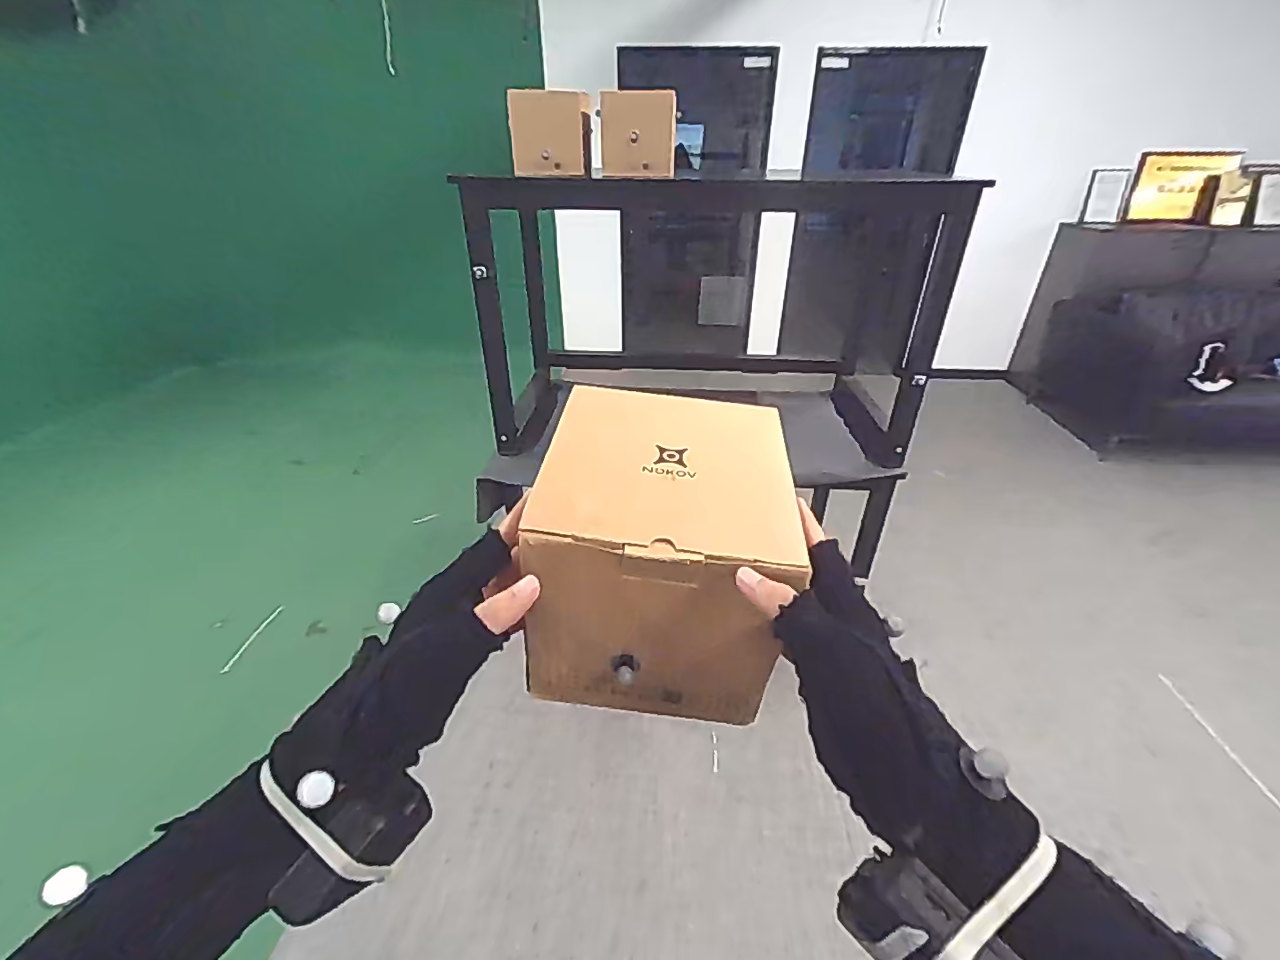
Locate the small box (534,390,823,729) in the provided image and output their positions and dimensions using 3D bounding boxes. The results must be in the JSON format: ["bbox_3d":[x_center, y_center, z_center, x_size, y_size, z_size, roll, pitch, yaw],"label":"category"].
[{"bbox_3d":[0.020,0.055,0.410,0.168,0.176,0.179,7,38,1],"label":"small box"}]

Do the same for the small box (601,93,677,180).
[{"bbox_3d":[0.003,-0.815,1.291,0.168,0.176,0.179,3,31,3],"label":"small box"}]
